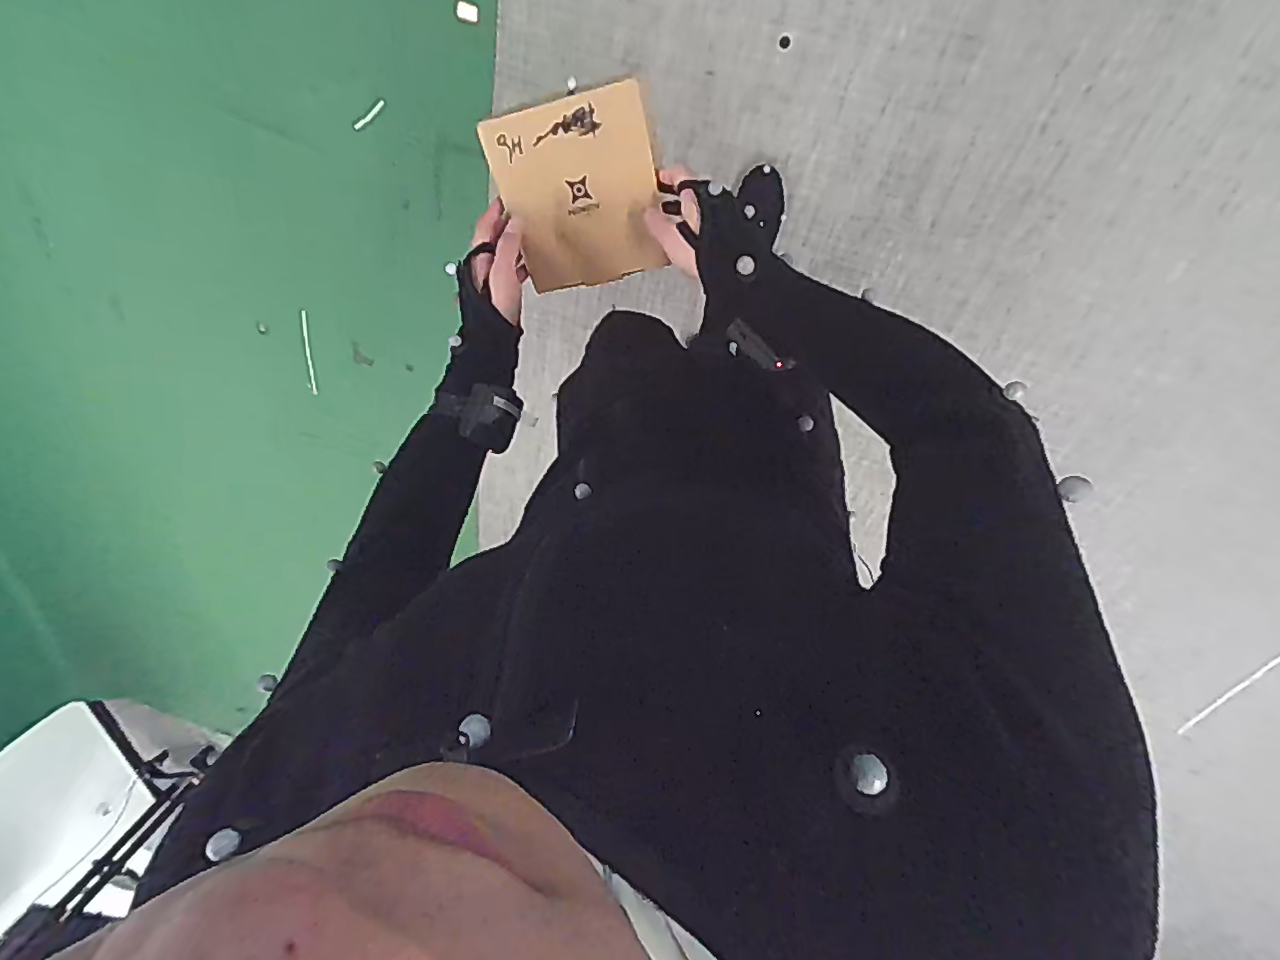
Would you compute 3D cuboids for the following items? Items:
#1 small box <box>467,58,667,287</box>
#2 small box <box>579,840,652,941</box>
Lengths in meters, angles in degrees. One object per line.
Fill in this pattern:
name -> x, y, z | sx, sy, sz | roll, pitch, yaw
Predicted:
small box -> -0.064, -0.349, 0.615 | 0.168, 0.176, 0.179 | -8, 129, 11
small box -> -0.070, 1.215, 1.605 | 0.168, 0.176, 0.179 | 15, 124, 6
